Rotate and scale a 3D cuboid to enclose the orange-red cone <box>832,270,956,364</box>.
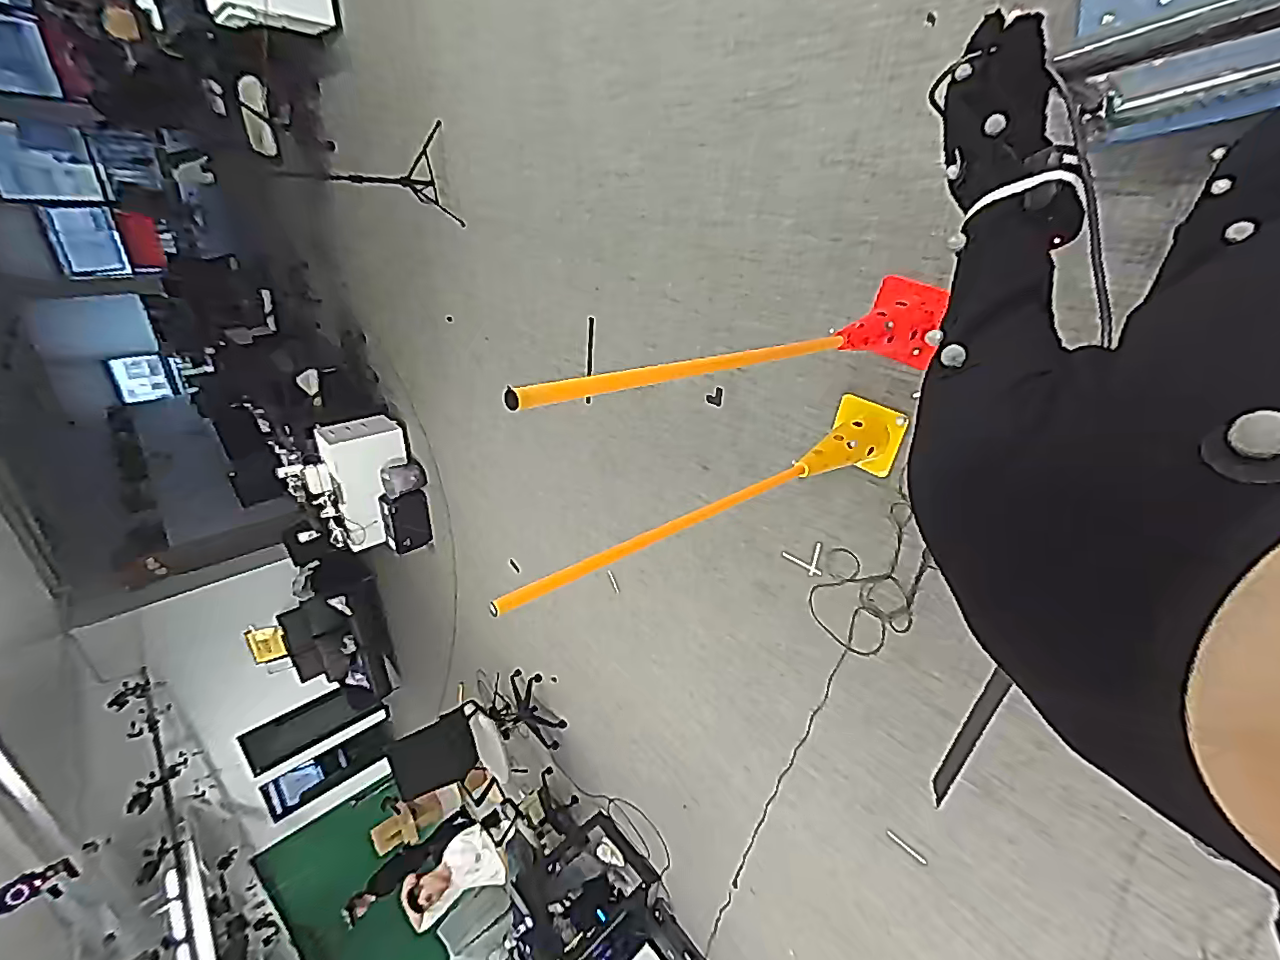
[{"bbox_3d":[0.558,-0.370,1.283,0.198,0.360,0.199,36,131,32],"label":"orange-red cone"}]
